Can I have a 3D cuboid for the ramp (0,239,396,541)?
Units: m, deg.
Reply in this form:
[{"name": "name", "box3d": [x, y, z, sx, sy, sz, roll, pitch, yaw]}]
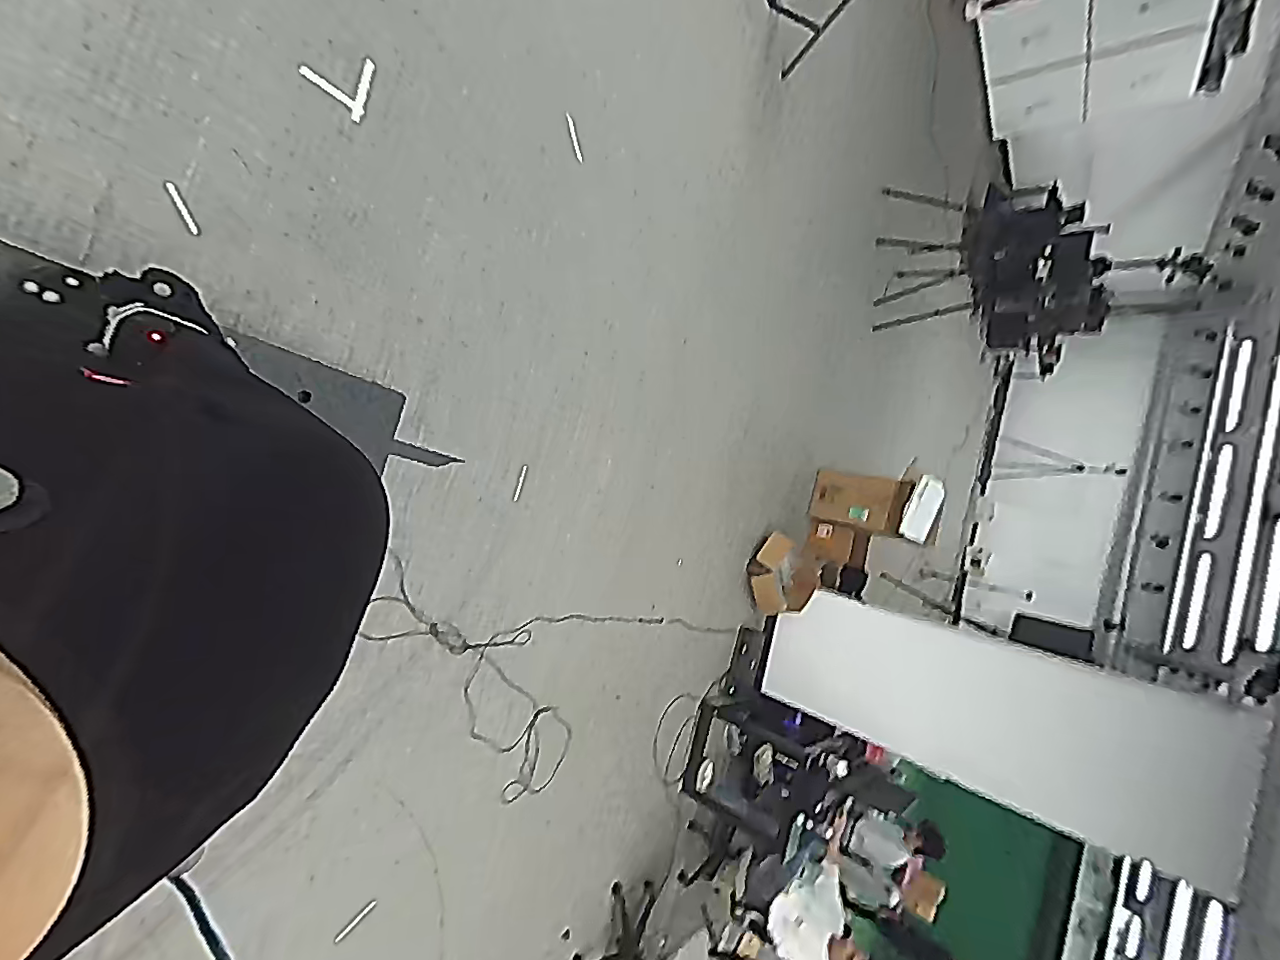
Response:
[{"name": "ramp", "box3d": [-1.043, -0.135, 1.234, 0.991, 0.206, 0.509, 17, 85, -51]}]
